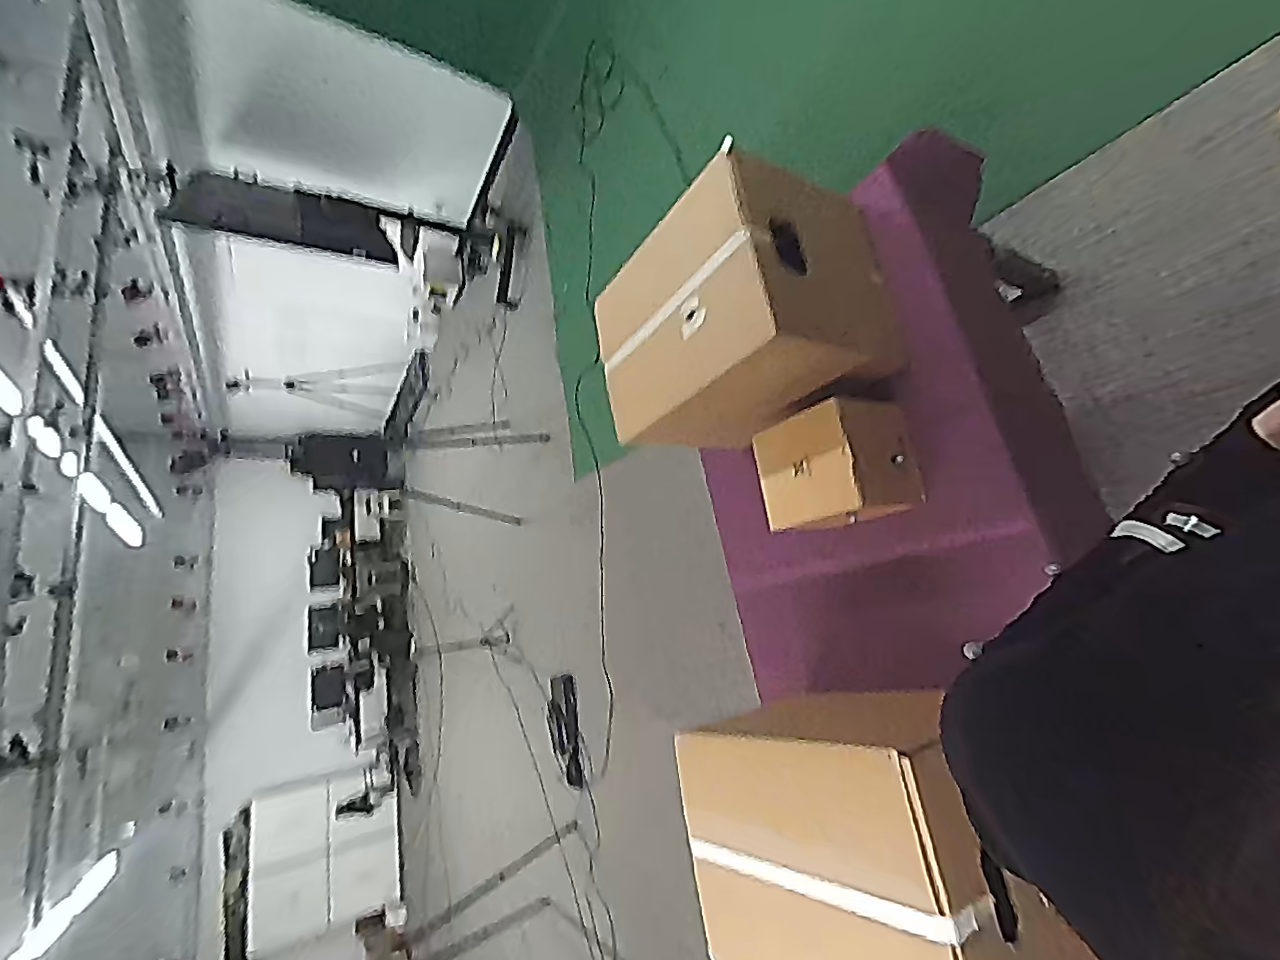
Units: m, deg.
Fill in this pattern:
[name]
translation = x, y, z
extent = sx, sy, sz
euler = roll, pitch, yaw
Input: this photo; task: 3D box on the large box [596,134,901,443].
[large box]
translation = 0.167, -0.286, 0.968
extent = 0.408, 0.320, 0.320
euler = -29, 67, 51
